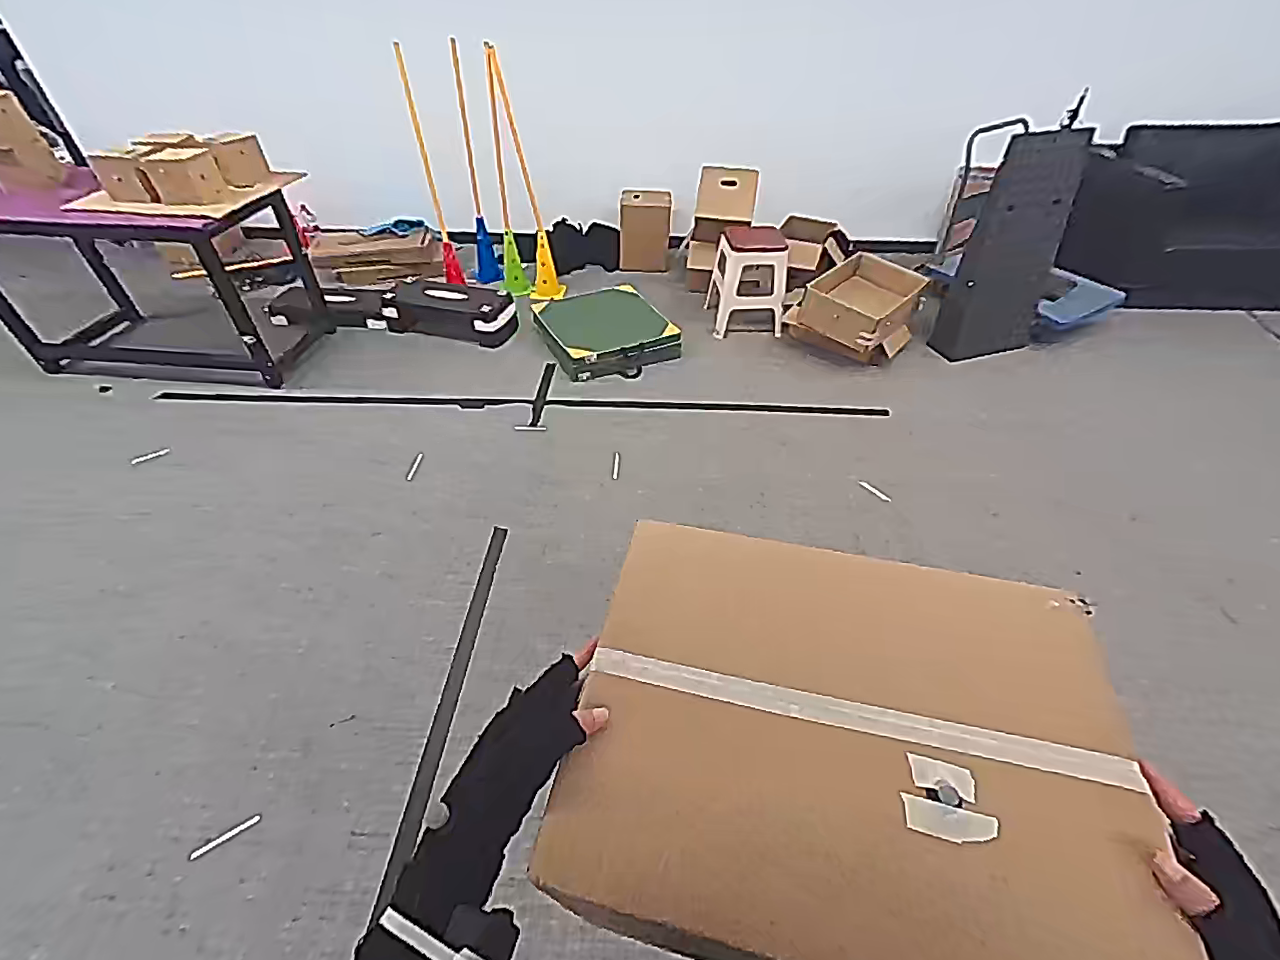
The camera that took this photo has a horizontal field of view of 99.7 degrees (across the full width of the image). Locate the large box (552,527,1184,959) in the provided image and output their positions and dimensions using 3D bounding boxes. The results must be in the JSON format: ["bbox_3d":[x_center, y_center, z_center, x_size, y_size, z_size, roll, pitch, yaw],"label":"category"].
[{"bbox_3d":[0.168,0.287,0.542,0.408,0.320,0.320,10,49,11],"label":"large box"}]
